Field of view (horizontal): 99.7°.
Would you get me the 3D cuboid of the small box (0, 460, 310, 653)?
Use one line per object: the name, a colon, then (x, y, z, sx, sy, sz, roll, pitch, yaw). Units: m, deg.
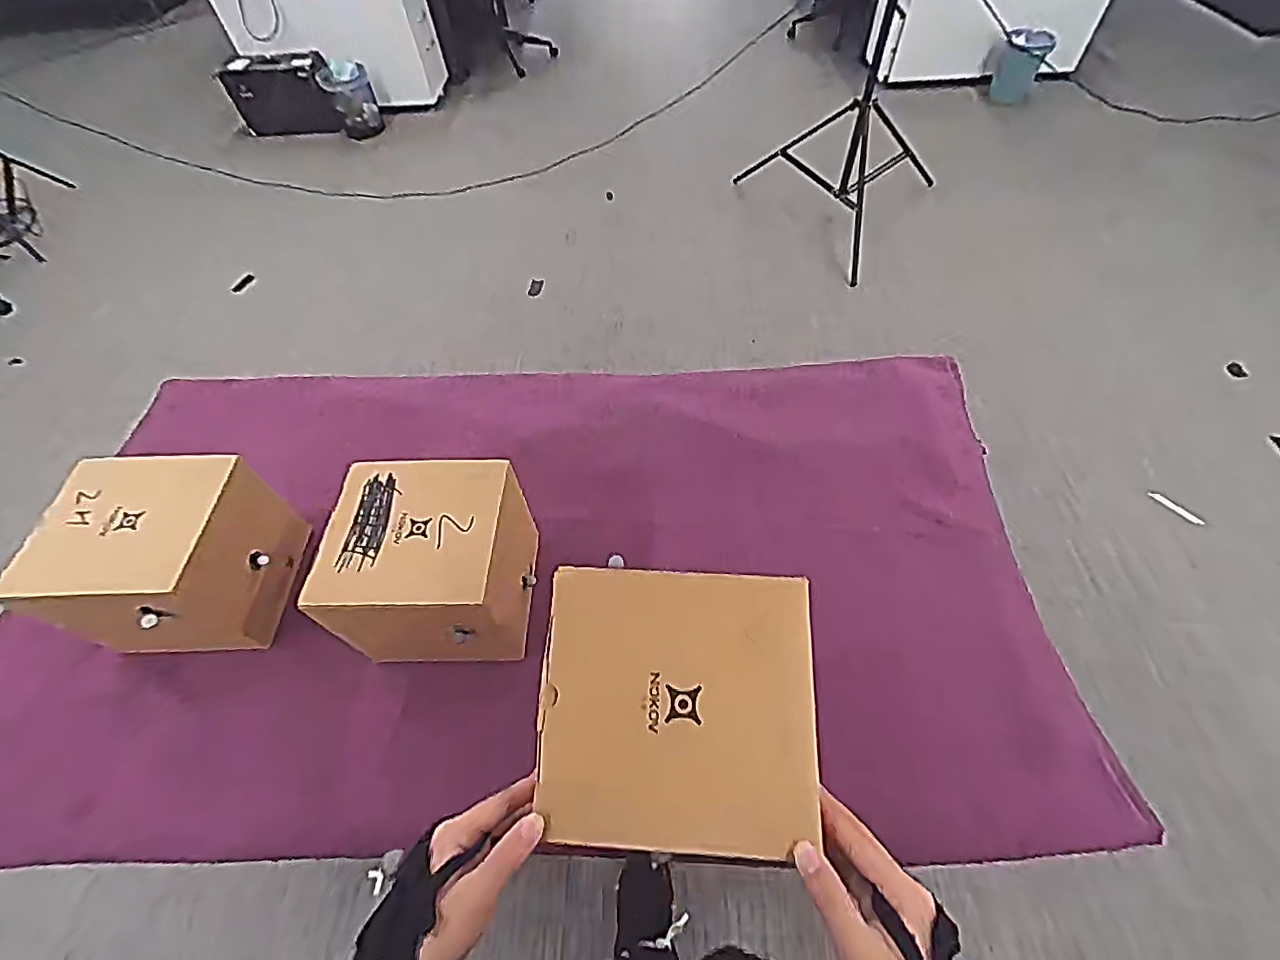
small box: (-0.523, 0.093, 0.622, 0.179, 0.176, 0.168, -2, 54, 0)

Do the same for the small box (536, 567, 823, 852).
small box: (0.032, 0.165, 0.425, 0.179, 0.176, 0.168, 1, 71, 5)
